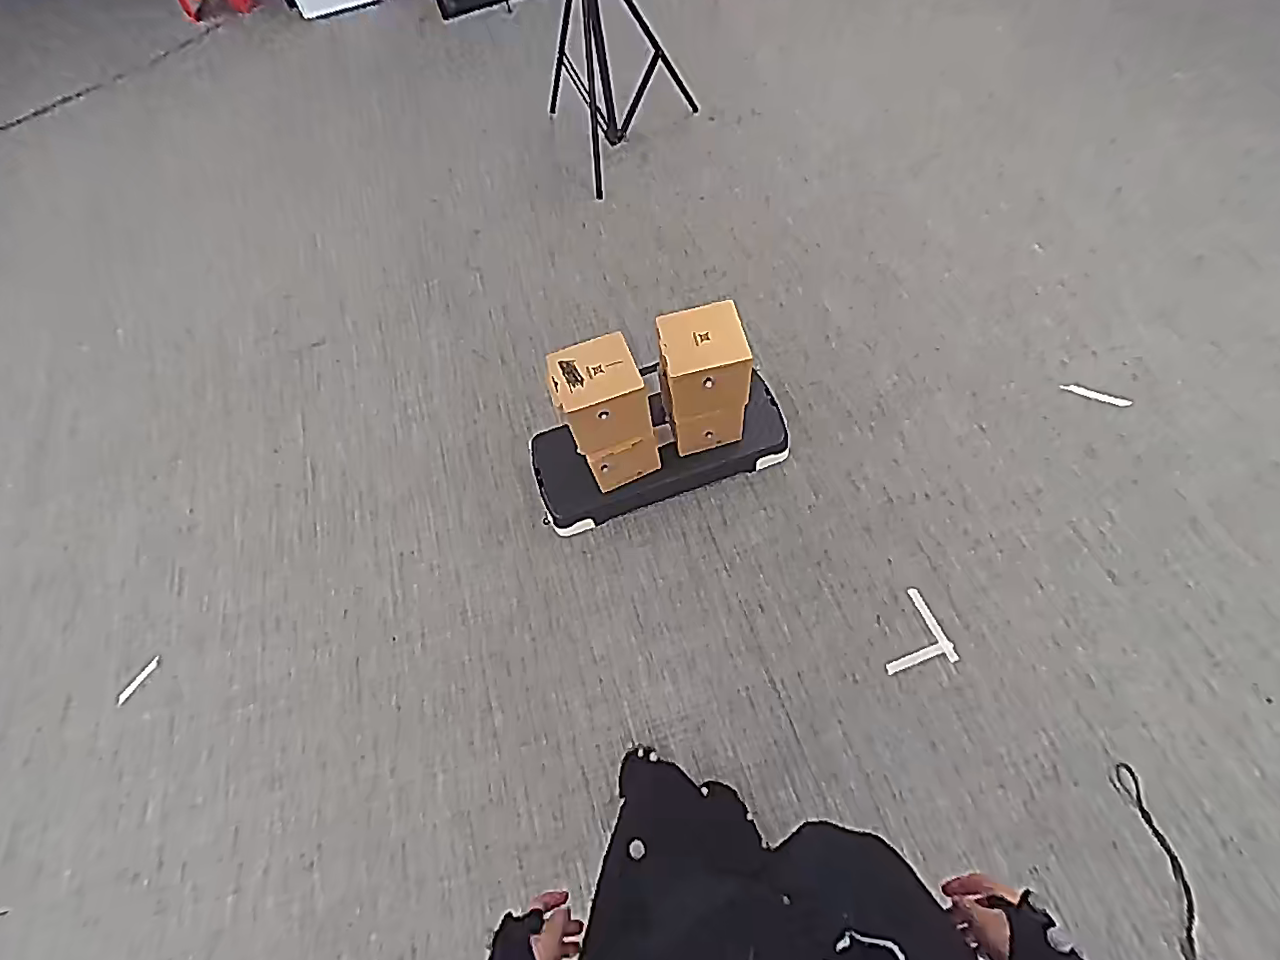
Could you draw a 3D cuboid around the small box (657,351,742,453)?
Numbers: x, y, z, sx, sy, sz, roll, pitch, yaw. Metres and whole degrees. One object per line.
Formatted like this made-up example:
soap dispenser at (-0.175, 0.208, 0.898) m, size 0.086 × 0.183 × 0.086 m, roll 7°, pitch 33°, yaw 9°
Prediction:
small box at (0.148, -0.185, 1.346) m, size 0.168 × 0.176 × 0.179 m, roll -16°, pitch 63°, yaw 0°
